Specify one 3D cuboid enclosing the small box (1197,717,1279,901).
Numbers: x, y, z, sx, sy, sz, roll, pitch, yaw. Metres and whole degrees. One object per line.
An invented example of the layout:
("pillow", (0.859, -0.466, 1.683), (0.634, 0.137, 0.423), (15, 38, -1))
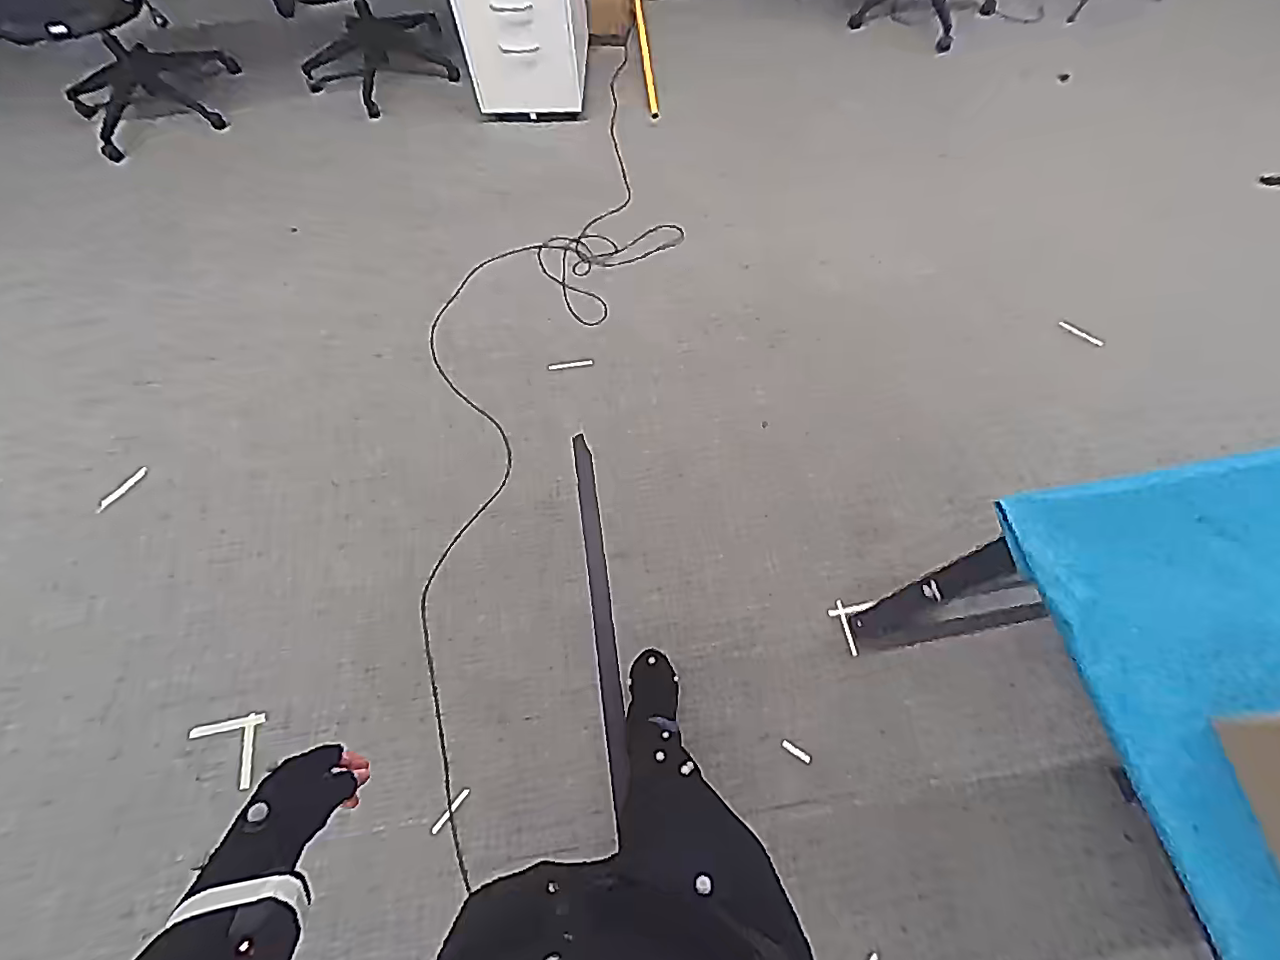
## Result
("small box", (0.712, 0.308, 0.499), (0.179, 0.176, 0.168), (-5, 67, -1))
